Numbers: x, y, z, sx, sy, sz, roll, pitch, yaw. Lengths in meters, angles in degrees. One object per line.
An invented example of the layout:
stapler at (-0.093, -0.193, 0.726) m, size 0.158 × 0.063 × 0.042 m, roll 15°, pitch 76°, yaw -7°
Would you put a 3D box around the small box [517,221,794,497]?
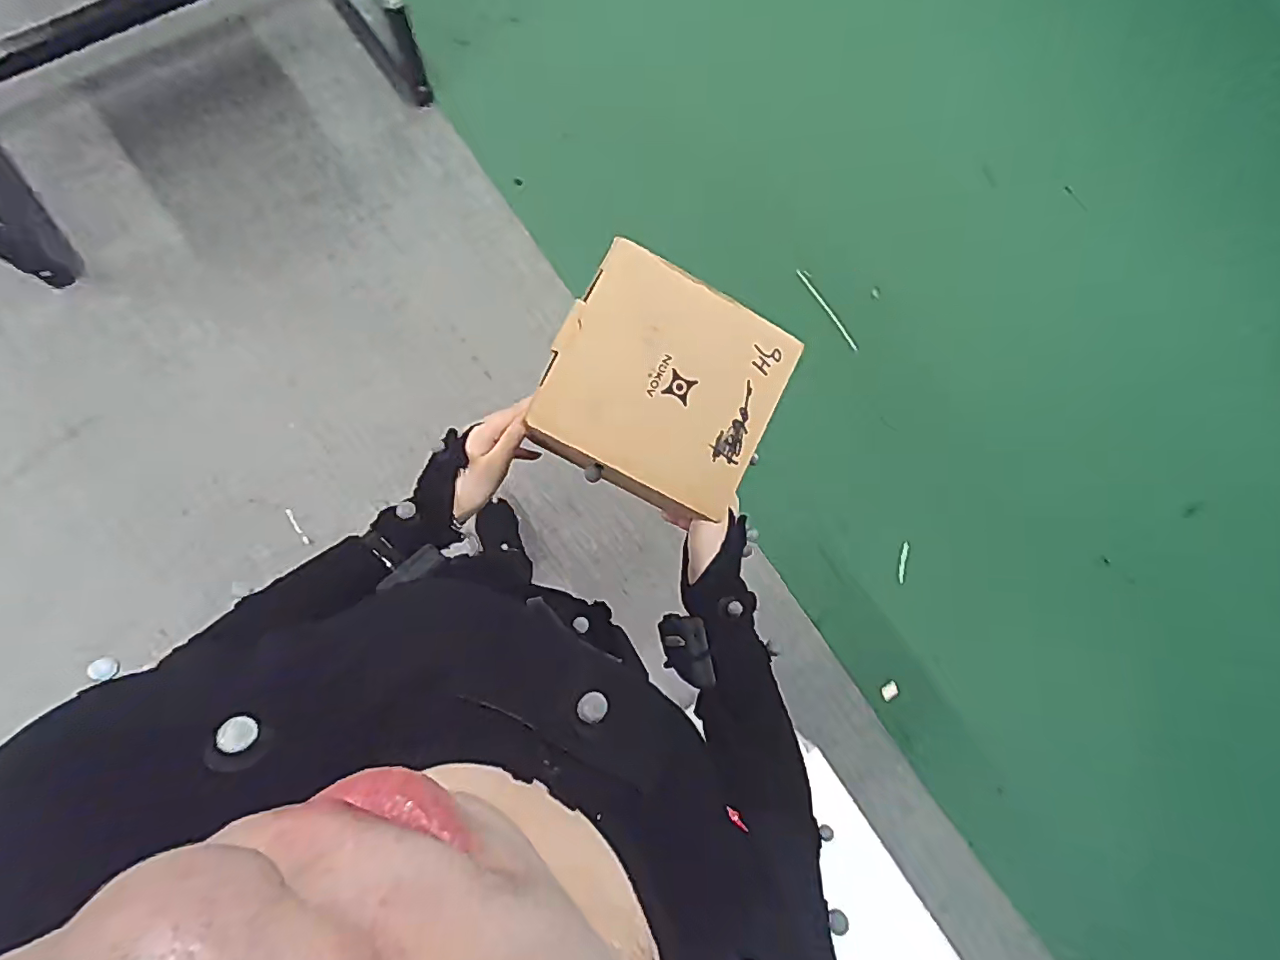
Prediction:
small box at (0.003, -0.090, 0.501) m, size 0.179 × 0.176 × 0.168 m, roll 27°, pitch 84°, yaw -9°
